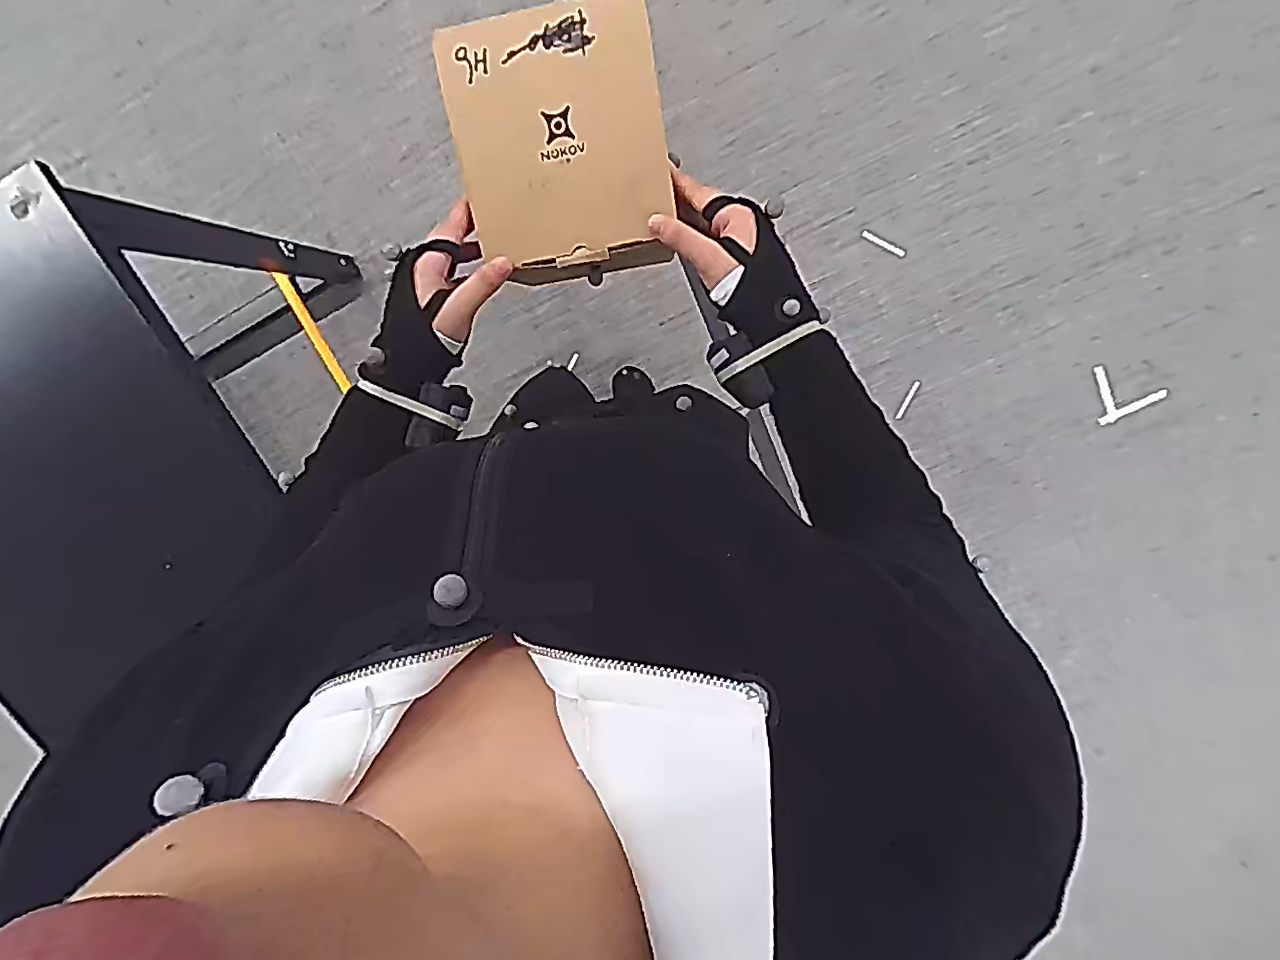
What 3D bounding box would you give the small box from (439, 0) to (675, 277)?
[{"bbox_3d":[-0.058,-0.293,0.507,0.168,0.176,0.179,-9,107,5],"label":"small box"}]
